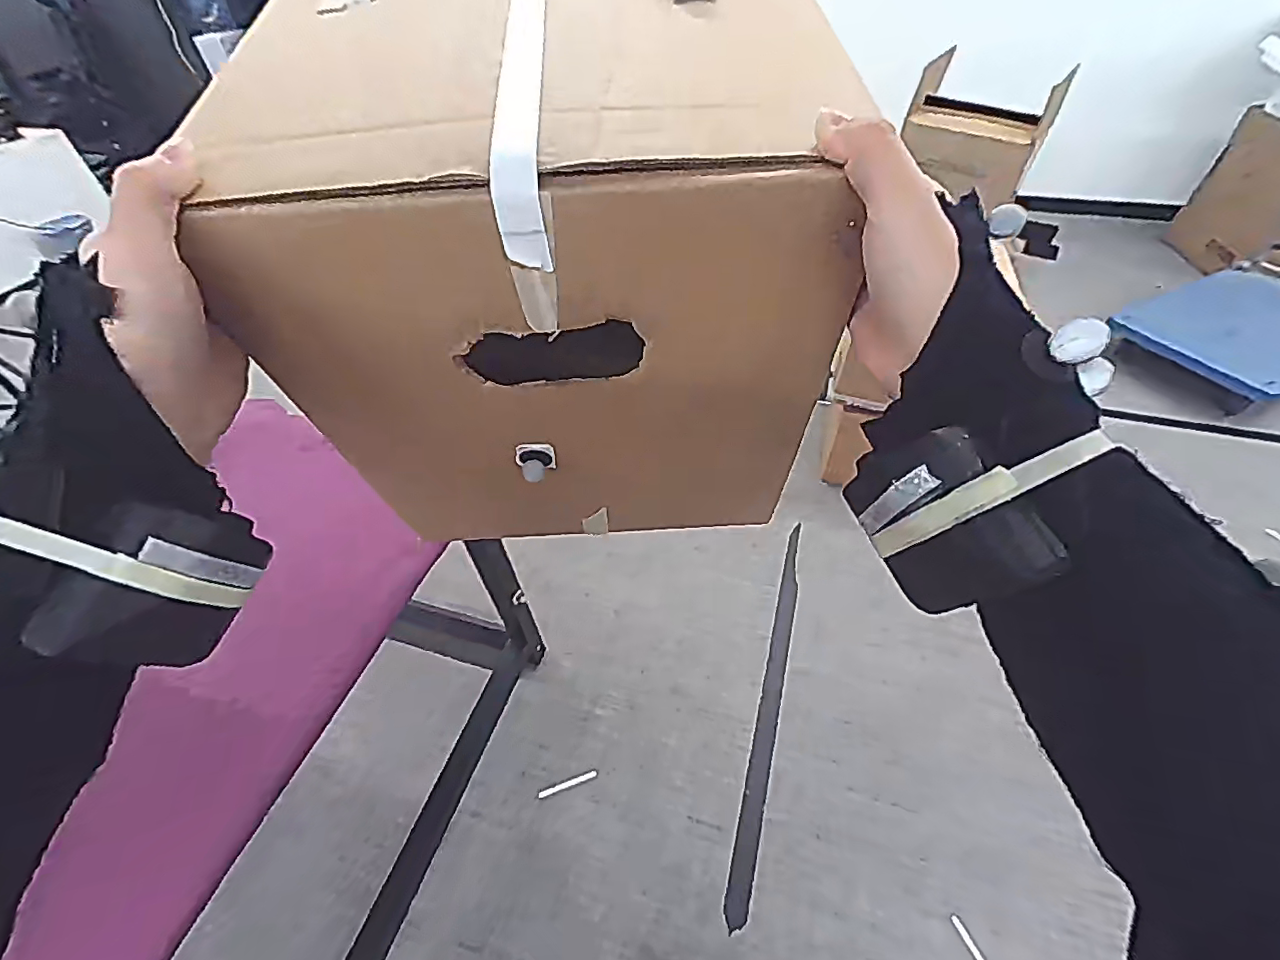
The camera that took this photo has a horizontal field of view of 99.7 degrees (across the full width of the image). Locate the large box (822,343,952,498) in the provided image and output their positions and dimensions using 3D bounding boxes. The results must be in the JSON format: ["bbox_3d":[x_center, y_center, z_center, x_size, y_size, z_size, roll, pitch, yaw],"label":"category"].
[{"bbox_3d":[0.814,-0.207,1.831,0.320,0.320,0.408,10,49,13],"label":"large box"}]
